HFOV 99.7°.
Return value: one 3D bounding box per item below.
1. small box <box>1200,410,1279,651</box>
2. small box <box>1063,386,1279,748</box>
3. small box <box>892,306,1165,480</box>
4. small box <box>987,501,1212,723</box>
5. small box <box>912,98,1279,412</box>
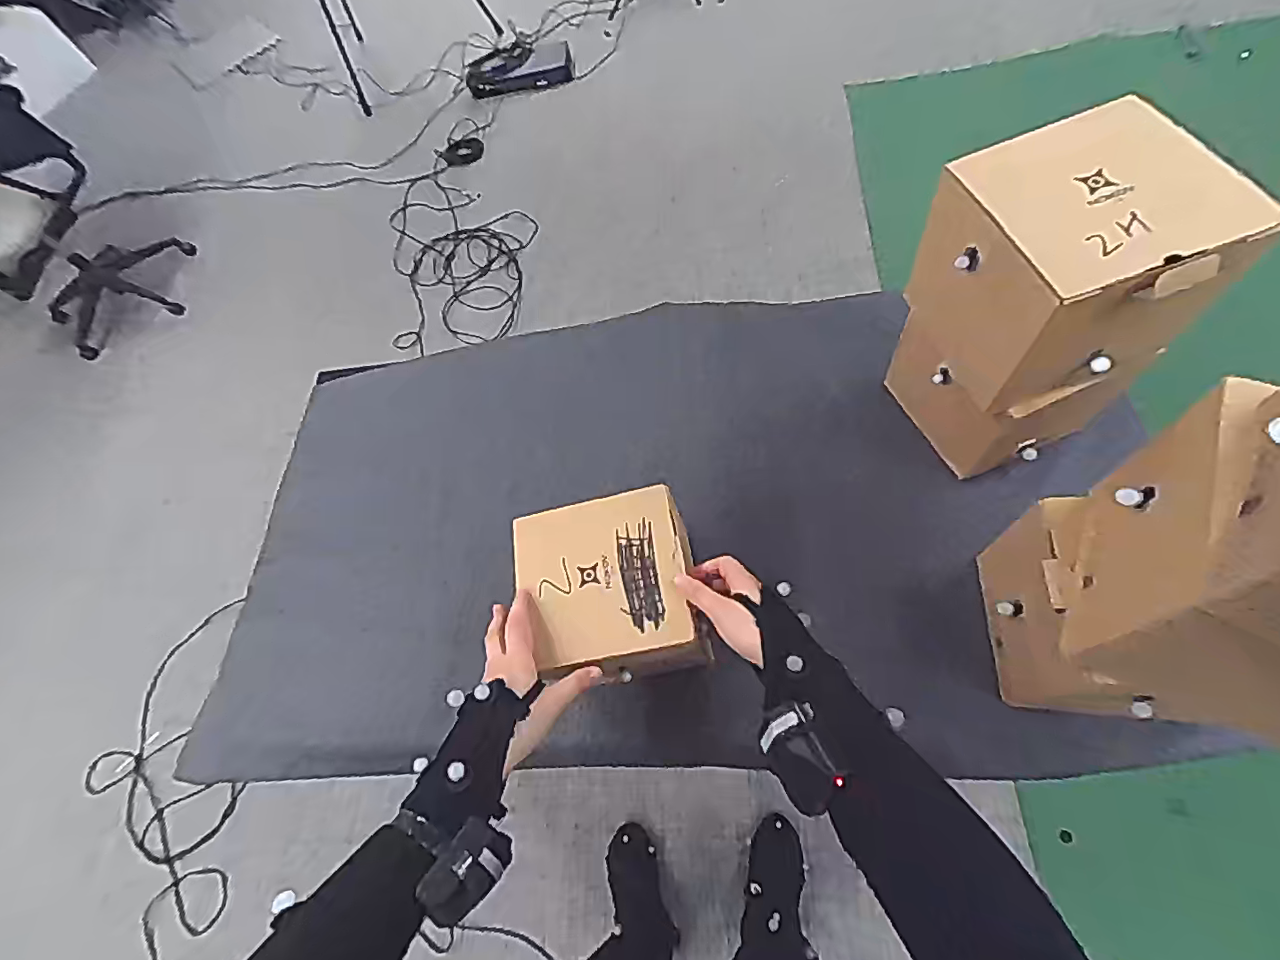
[{"bbox_3d":[0.399,0.015,0.208,0.179,0.176,0.168,31,72,24],"label":"small box"},{"bbox_3d":[0.430,0.070,0.362,0.179,0.176,0.168,21,68,20],"label":"small box"},{"bbox_3d":[0.431,-0.129,0.643,0.168,0.176,0.179,-25,65,2],"label":"small box"},{"bbox_3d":[0.457,0.130,0.512,0.179,0.176,0.168,1,63,13],"label":"small box"},{"bbox_3d":[0.381,-0.193,0.498,0.168,0.176,0.179,-19,64,6],"label":"small box"}]
